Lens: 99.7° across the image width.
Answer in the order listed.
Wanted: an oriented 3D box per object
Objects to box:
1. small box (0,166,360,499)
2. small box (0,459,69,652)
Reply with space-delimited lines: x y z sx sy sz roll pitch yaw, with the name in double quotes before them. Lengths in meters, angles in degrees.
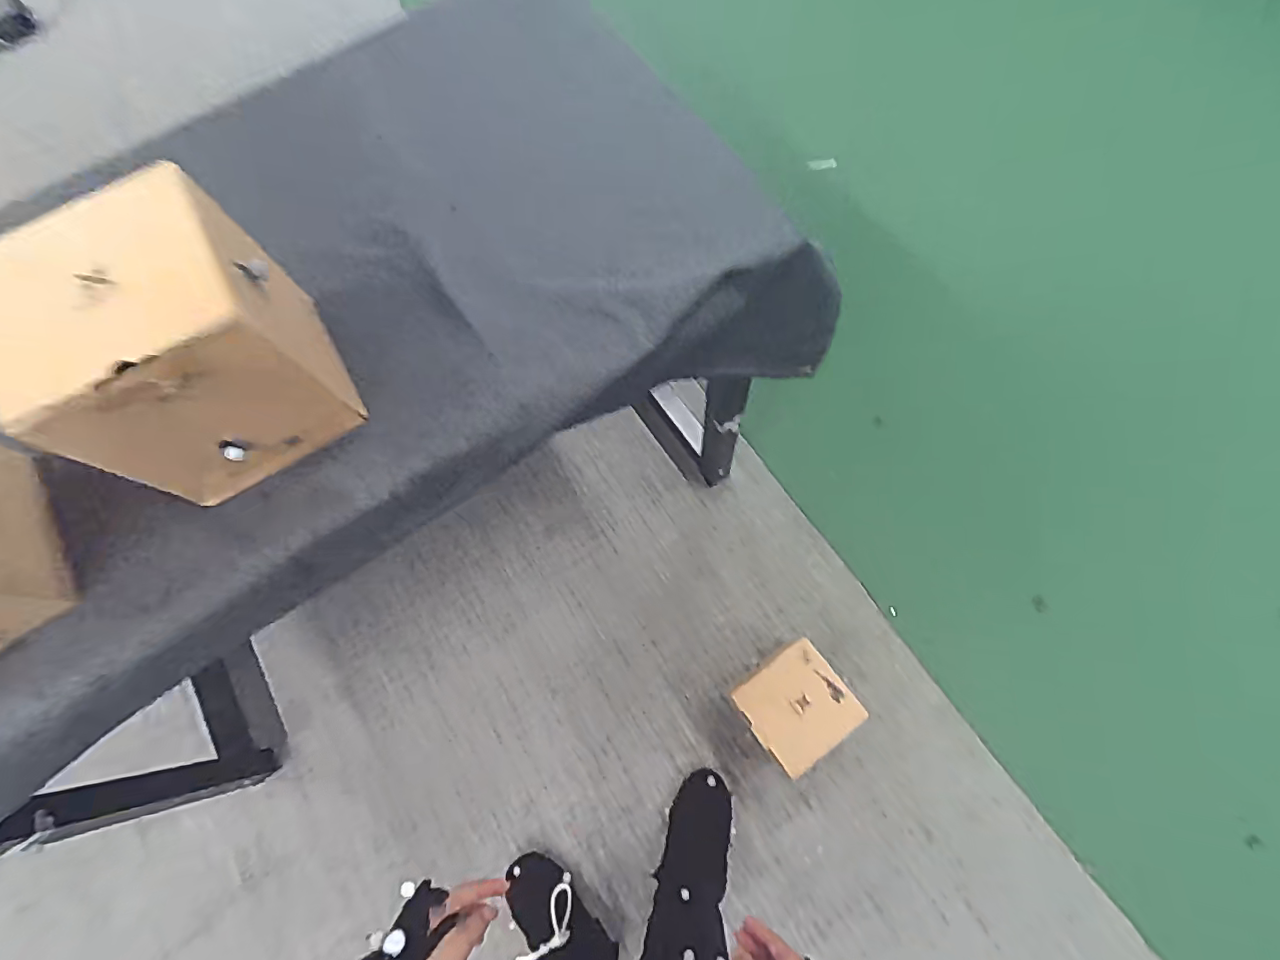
"small box" -0.381 -0.111 0.460 0.168 0.176 0.179 -31 72 -7
"small box" -0.613 0.062 0.412 0.168 0.176 0.179 -35 72 -8
